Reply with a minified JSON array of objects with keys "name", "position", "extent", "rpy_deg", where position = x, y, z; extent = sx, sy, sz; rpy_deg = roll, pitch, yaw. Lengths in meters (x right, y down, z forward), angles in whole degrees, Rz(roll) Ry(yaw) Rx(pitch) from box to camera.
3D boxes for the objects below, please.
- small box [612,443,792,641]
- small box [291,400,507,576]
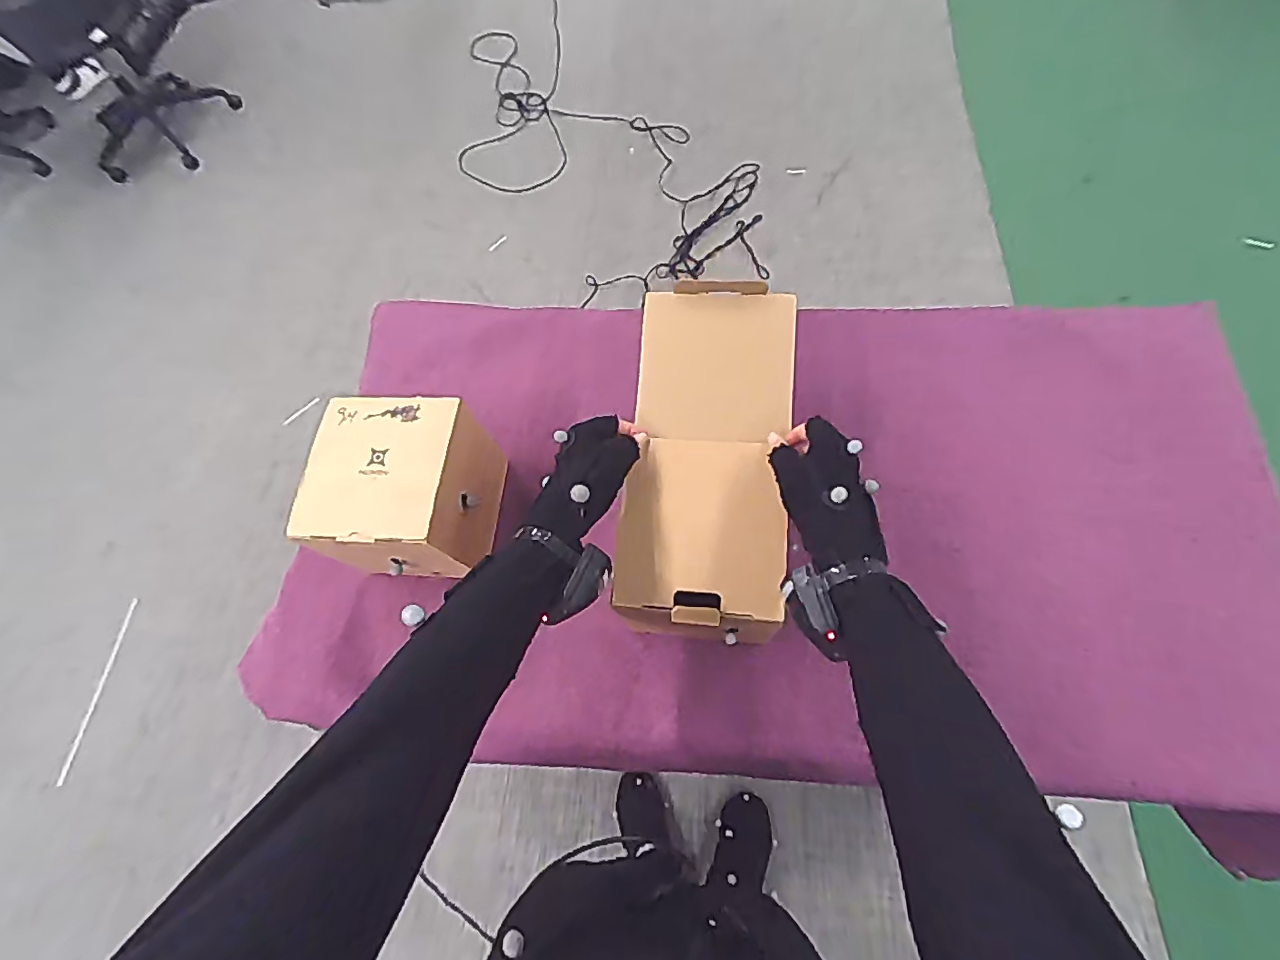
[{"name":"small box","position":[0.073,0.077,0.604],"extent":[0.168,0.176,0.179],"rpy_deg":[4,67,9]},{"name":"small box","position":[-0.280,0.017,0.674],"extent":[0.168,0.176,0.179],"rpy_deg":[2,68,8]}]
